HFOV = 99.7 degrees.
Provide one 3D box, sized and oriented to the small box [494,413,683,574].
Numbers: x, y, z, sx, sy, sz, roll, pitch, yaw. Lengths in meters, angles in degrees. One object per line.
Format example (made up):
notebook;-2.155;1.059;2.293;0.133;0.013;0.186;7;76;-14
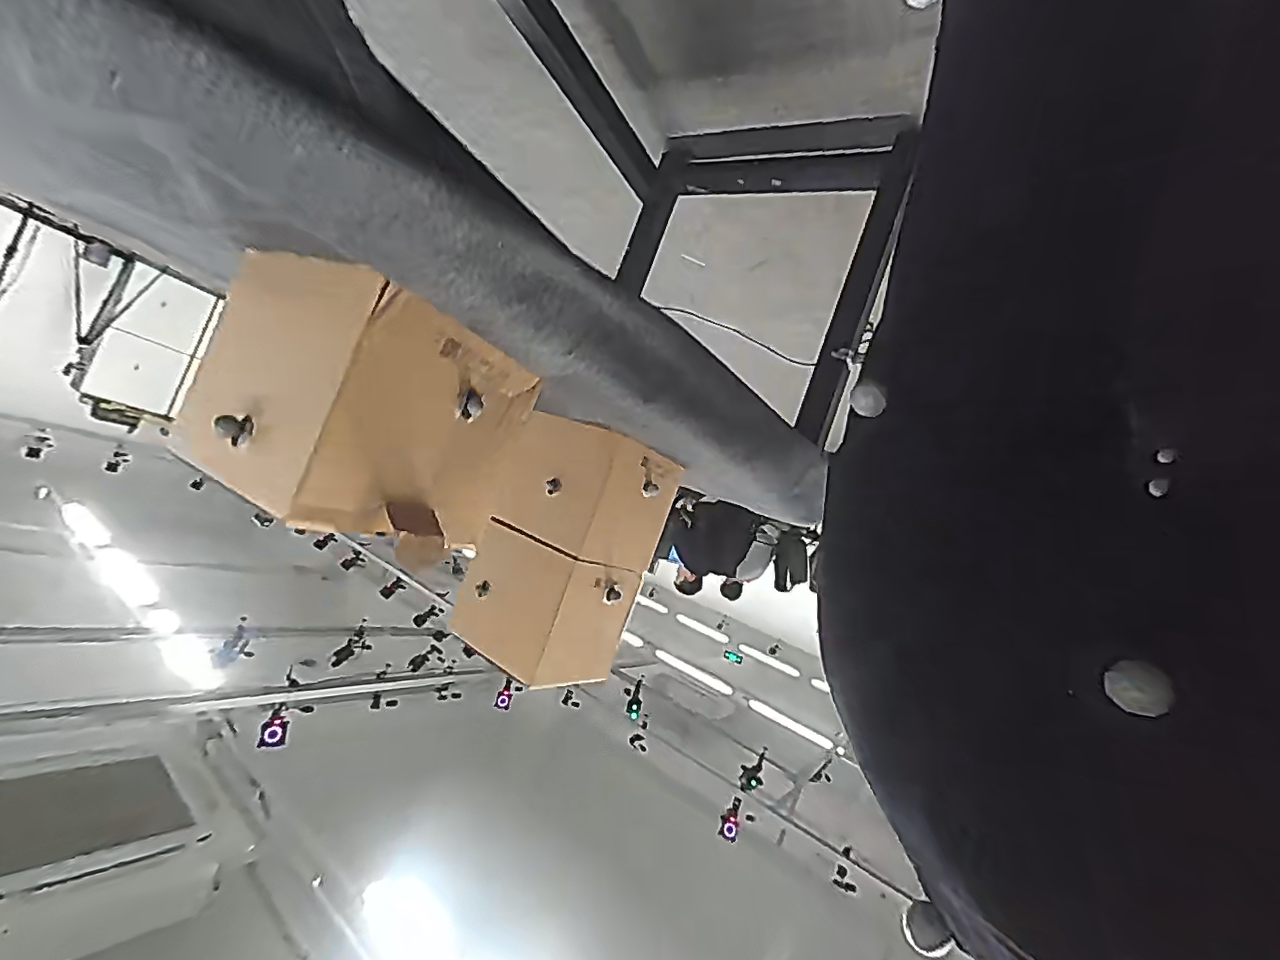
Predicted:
small box;-0.067;0.016;0.770;0.179;0.176;0.168;18;175;36

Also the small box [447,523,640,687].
small box;-0.128;0.166;0.756;0.179;0.176;0.168;17;176;35

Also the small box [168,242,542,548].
small box;-0.210;-0.063;0.427;0.179;0.176;0.168;19;176;29
